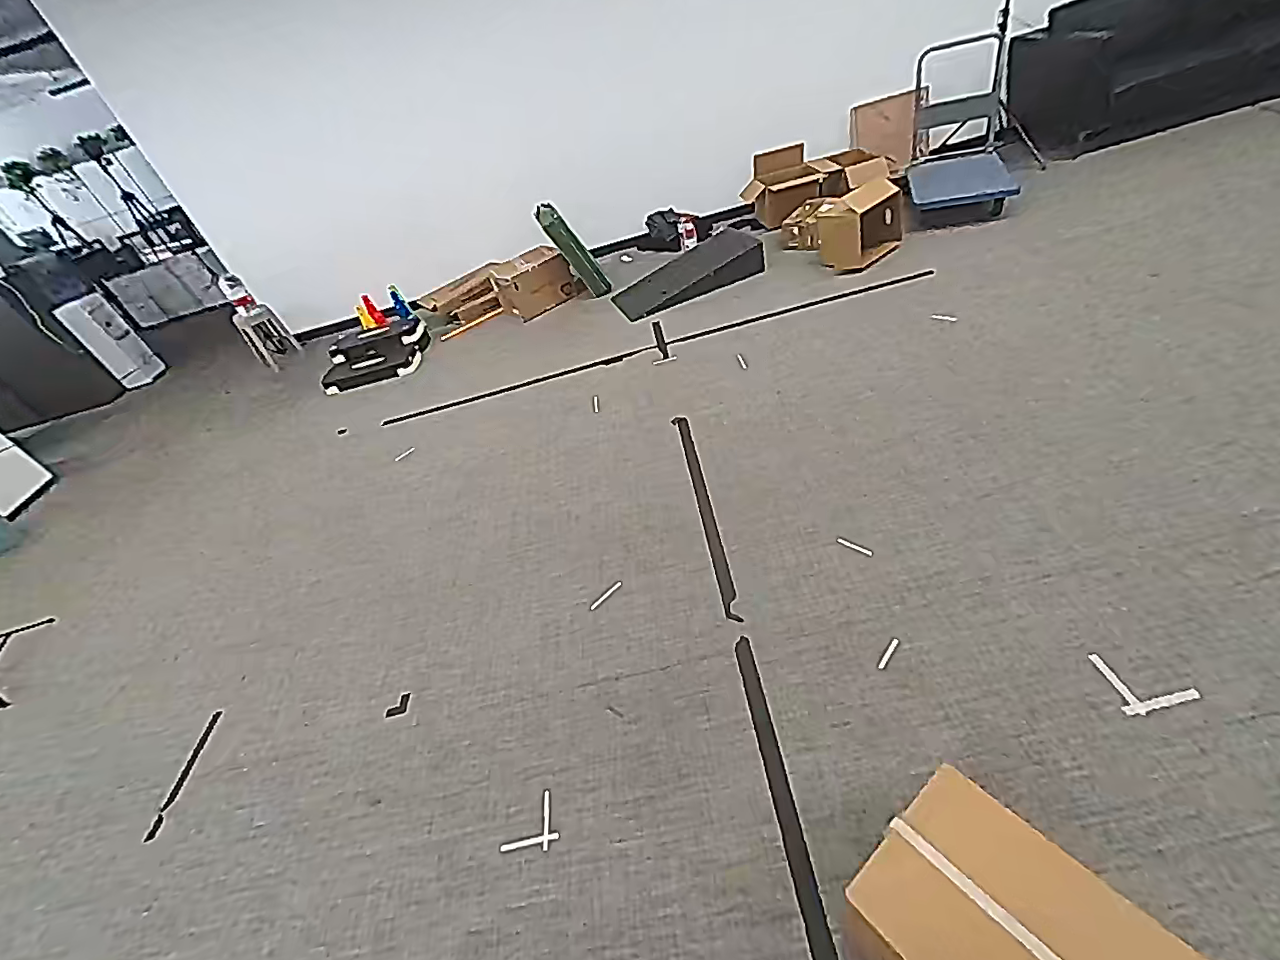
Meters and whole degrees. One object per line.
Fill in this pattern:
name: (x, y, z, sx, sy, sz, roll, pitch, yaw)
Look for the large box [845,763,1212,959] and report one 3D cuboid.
large box: (0.621, 0.805, 0.939, 0.320, 0.320, 0.408, -36, 43, -21)
